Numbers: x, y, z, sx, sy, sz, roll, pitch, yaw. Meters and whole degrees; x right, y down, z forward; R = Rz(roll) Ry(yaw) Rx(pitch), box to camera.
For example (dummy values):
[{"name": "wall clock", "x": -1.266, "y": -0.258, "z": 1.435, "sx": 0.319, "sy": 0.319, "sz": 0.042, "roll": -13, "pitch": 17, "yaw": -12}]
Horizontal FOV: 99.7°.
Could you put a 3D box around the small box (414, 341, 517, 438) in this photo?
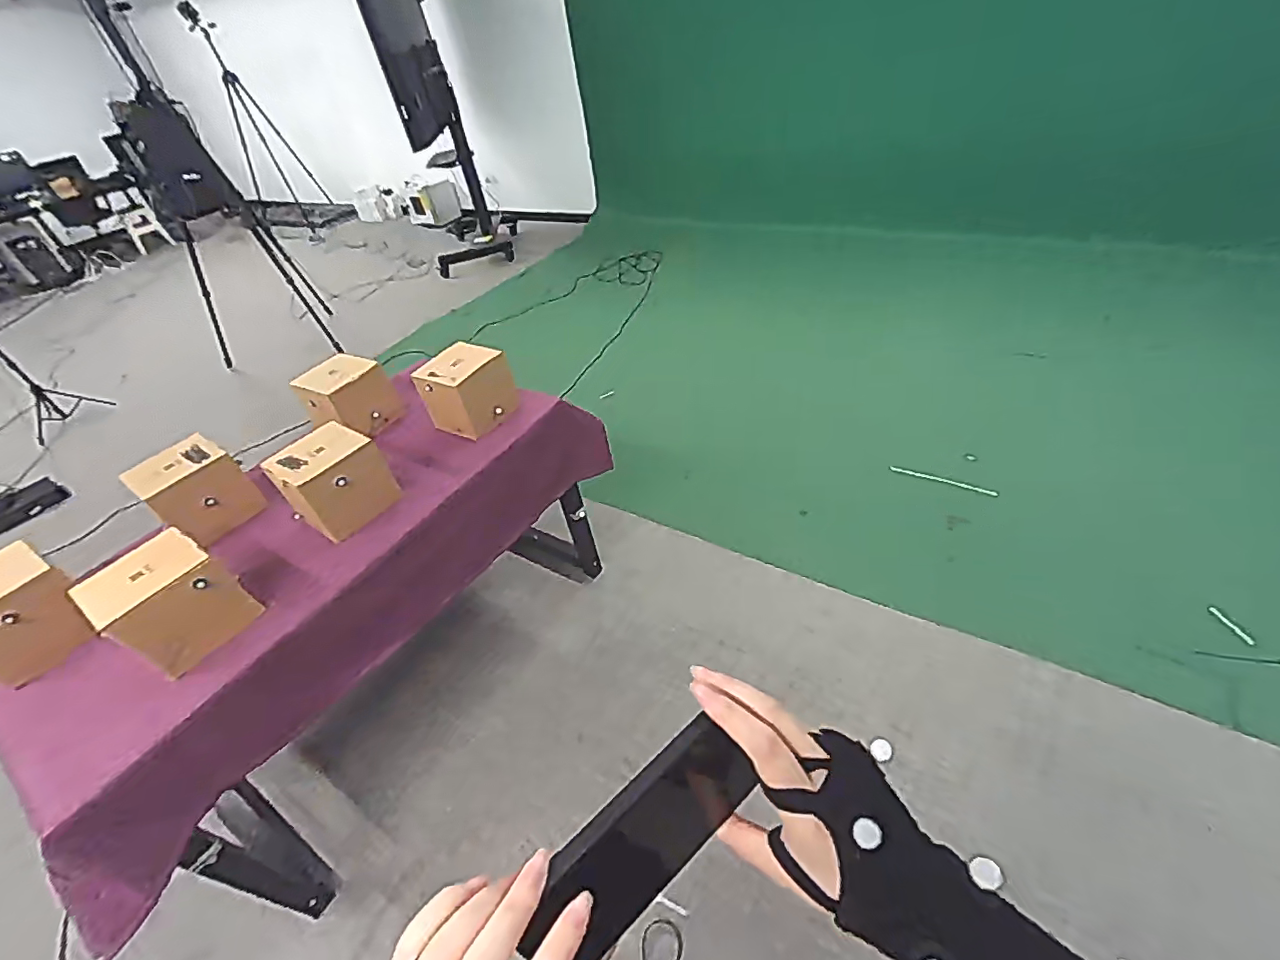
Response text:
[{"name": "small box", "x": -0.444, "y": -0.239, "z": 1.413, "sx": 0.168, "sy": 0.176, "sz": 0.179, "roll": 17, "pitch": 48, "yaw": 28}]

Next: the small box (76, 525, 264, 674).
[{"name": "small box", "x": -0.849, "y": 0.219, "z": 0.992, "sx": 0.168, "sy": 0.176, "sz": 0.179, "roll": 19, "pitch": 49, "yaw": 30}]

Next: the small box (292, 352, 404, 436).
[{"name": "small box", "x": -0.785, "y": -0.225, "z": 1.468, "sx": 0.179, "sy": 0.176, "sz": 0.168, "roll": 17, "pitch": 49, "yaw": 27}]

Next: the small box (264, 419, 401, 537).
[{"name": "small box", "x": -0.672, "y": -0.003, "z": 1.200, "sx": 0.168, "sy": 0.176, "sz": 0.179, "roll": 21, "pitch": 50, "yaw": 31}]
